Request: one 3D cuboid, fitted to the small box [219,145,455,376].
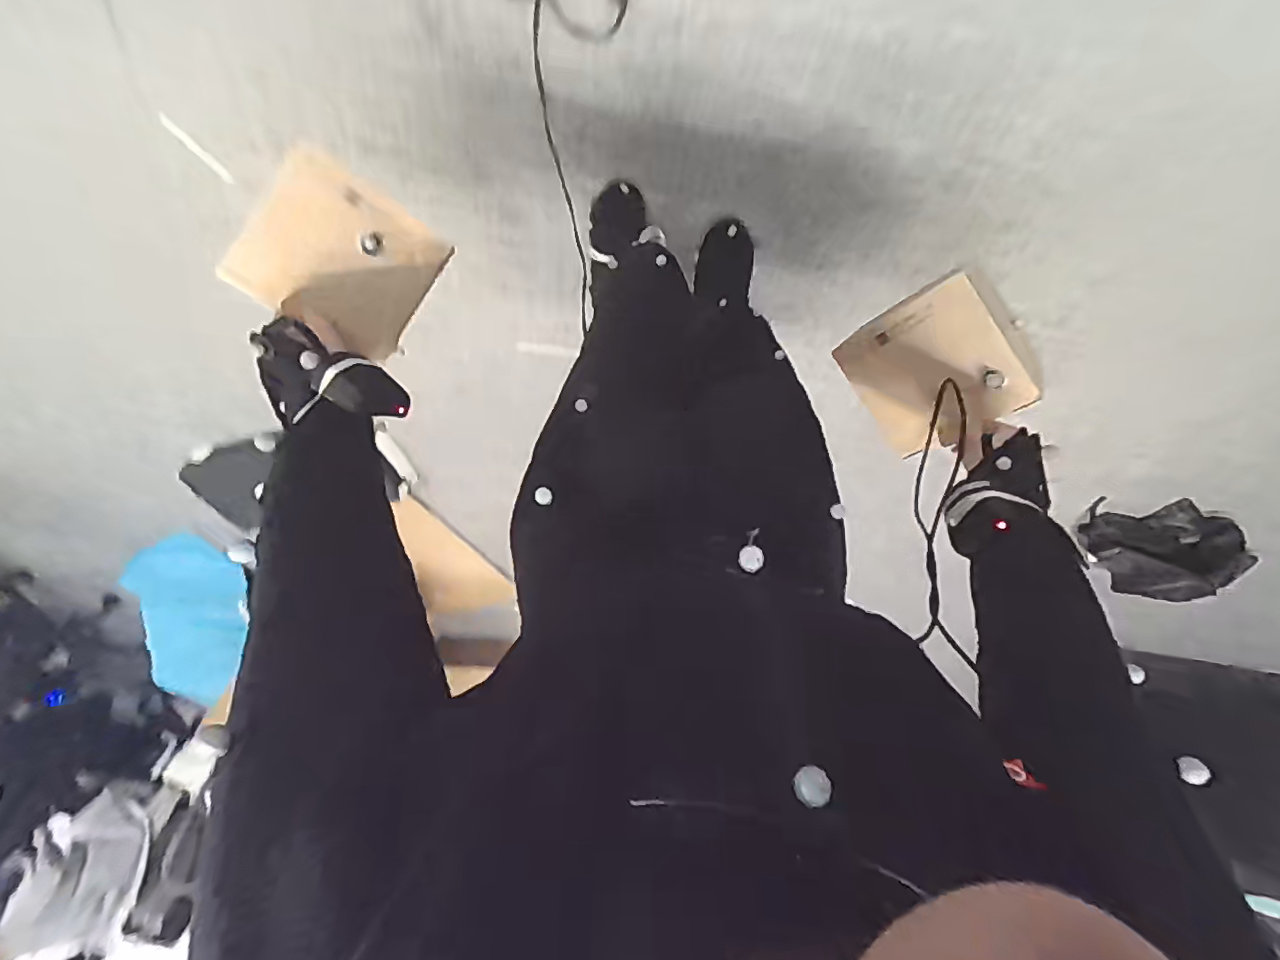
[{"bbox_3d":[-0.339,-0.240,0.635,0.168,0.176,0.179,33,172,-27],"label":"small box"}]
